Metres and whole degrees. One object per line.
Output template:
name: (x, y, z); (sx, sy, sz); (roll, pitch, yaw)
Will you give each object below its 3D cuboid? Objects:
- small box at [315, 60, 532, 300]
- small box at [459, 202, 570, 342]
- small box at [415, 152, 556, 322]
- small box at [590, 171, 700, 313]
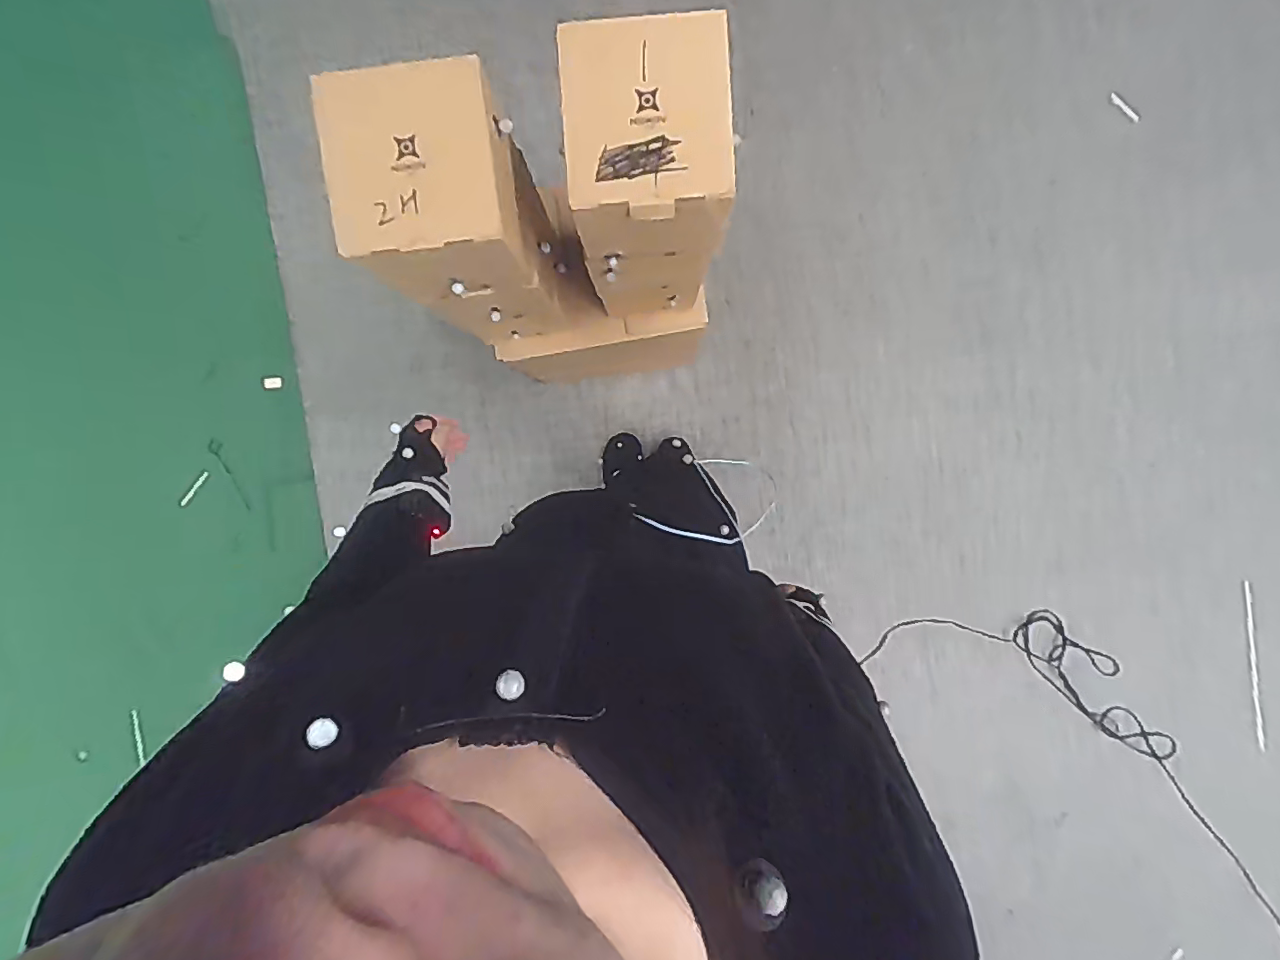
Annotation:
small box: (-0.226, -0.319, 0.609); (0.168, 0.176, 0.179); (-6, 95, 1)
small box: (-0.221, -0.349, 0.937); (0.168, 0.176, 0.179); (-8, 95, 1)
small box: (-0.221, -0.331, 0.774); (0.168, 0.176, 0.179); (-7, 95, 1)
small box: (0.012, -0.394, 0.928); (0.168, 0.176, 0.179); (-5, 93, 2)
